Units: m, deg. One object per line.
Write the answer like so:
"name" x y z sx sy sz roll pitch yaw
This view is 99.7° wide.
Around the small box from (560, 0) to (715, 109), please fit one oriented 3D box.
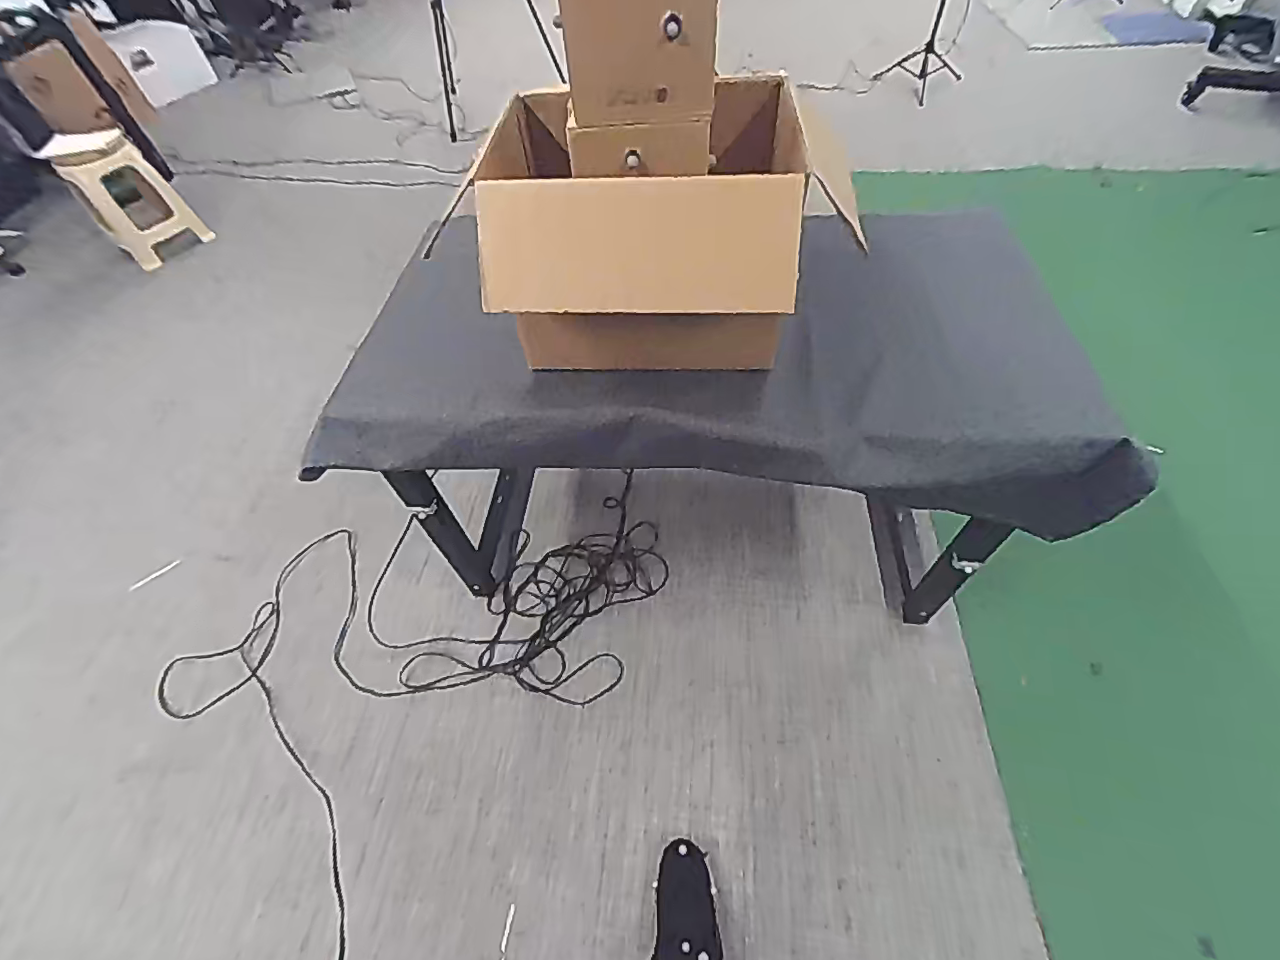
"small box" -0.001 -0.553 0.627 0.168 0.176 0.179 -1 54 2
